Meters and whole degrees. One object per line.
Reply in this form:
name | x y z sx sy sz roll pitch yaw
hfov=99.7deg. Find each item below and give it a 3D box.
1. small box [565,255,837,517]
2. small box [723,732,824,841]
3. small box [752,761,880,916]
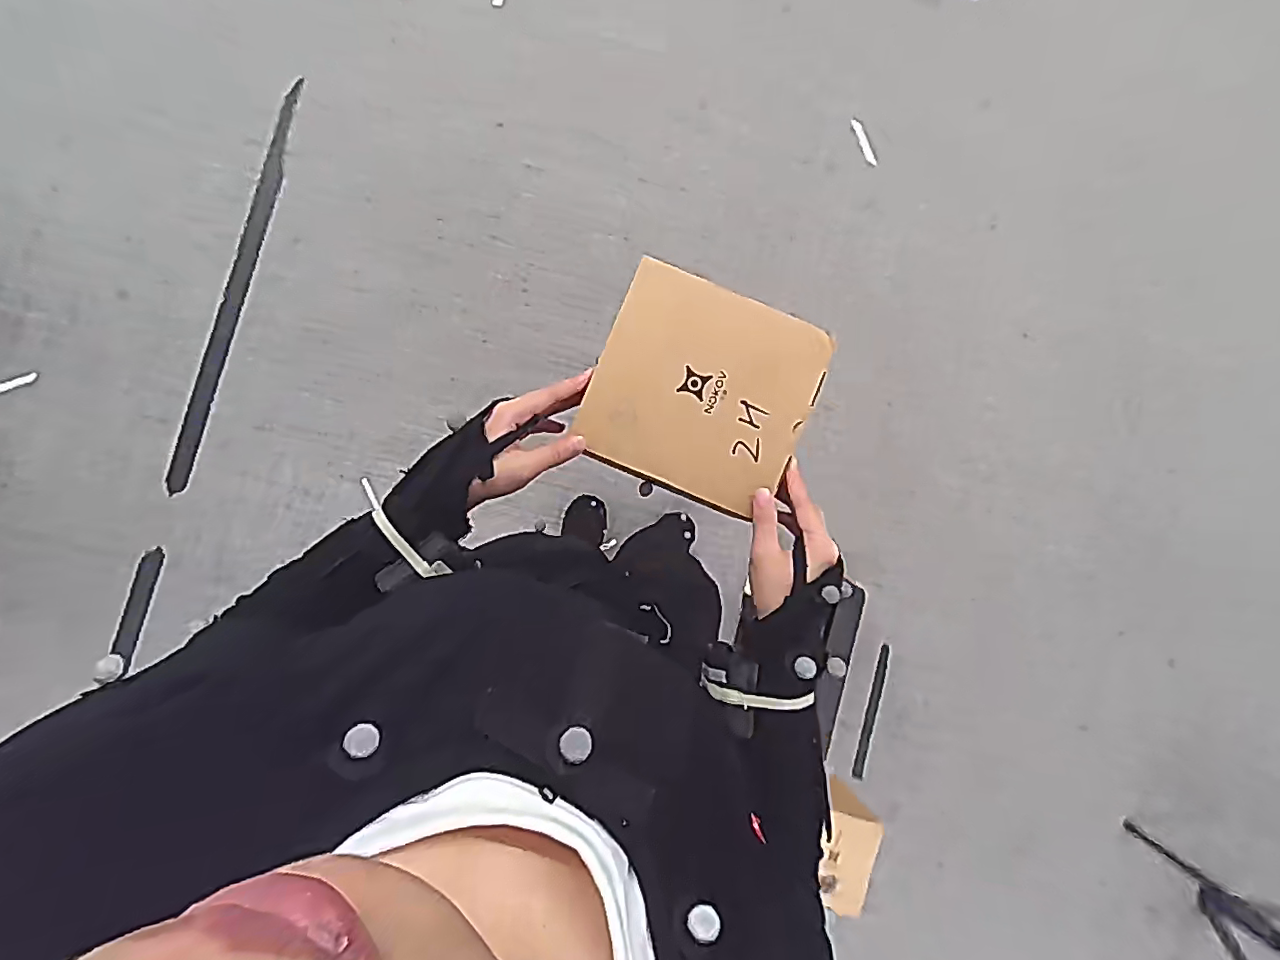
small box | 0.048 -0.073 0.511 0.179 0.176 0.168 22 89 -1
small box | 0.308 0.707 1.243 0.179 0.176 0.168 13 88 -5
small box | 0.340 0.705 1.081 0.168 0.176 0.179 19 87 -5
